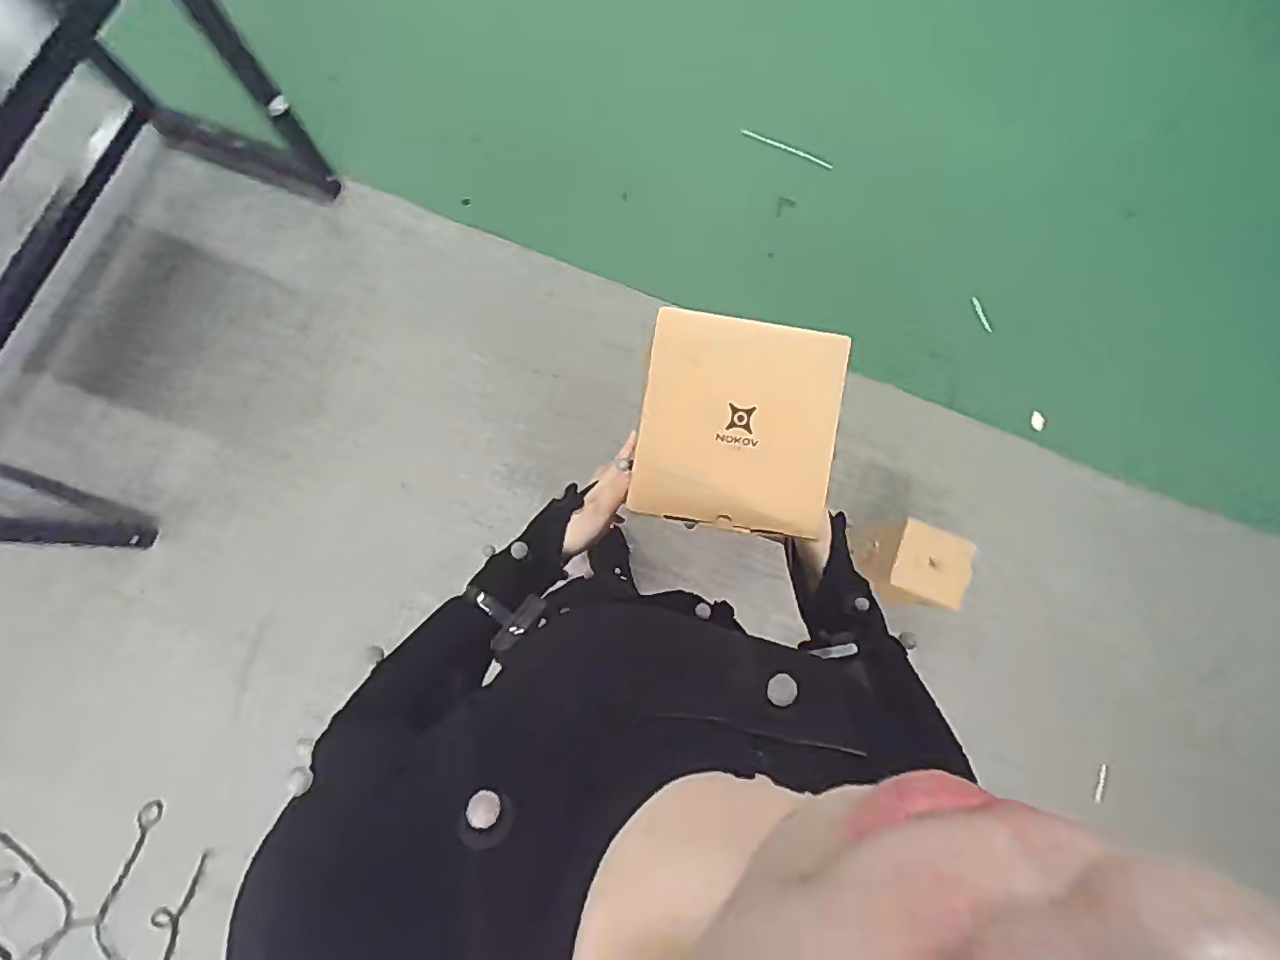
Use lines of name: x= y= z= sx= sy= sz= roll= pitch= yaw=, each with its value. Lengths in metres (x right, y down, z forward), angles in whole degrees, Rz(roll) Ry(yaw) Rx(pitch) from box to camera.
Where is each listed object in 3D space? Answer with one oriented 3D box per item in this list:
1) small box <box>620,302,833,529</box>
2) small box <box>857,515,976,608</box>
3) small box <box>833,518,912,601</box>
small box: x=0.071 y=-0.057 z=0.541 sx=0.168 sy=0.176 sz=0.179 roll=8 pitch=92 yaw=-2
small box: x=0.671 y=0.199 z=1.326 sx=0.179 sy=0.176 sz=0.168 roll=22 pitch=80 yaw=1
small box: x=0.663 y=0.221 z=1.487 sx=0.179 sy=0.176 sz=0.168 roll=26 pitch=81 yaw=1
